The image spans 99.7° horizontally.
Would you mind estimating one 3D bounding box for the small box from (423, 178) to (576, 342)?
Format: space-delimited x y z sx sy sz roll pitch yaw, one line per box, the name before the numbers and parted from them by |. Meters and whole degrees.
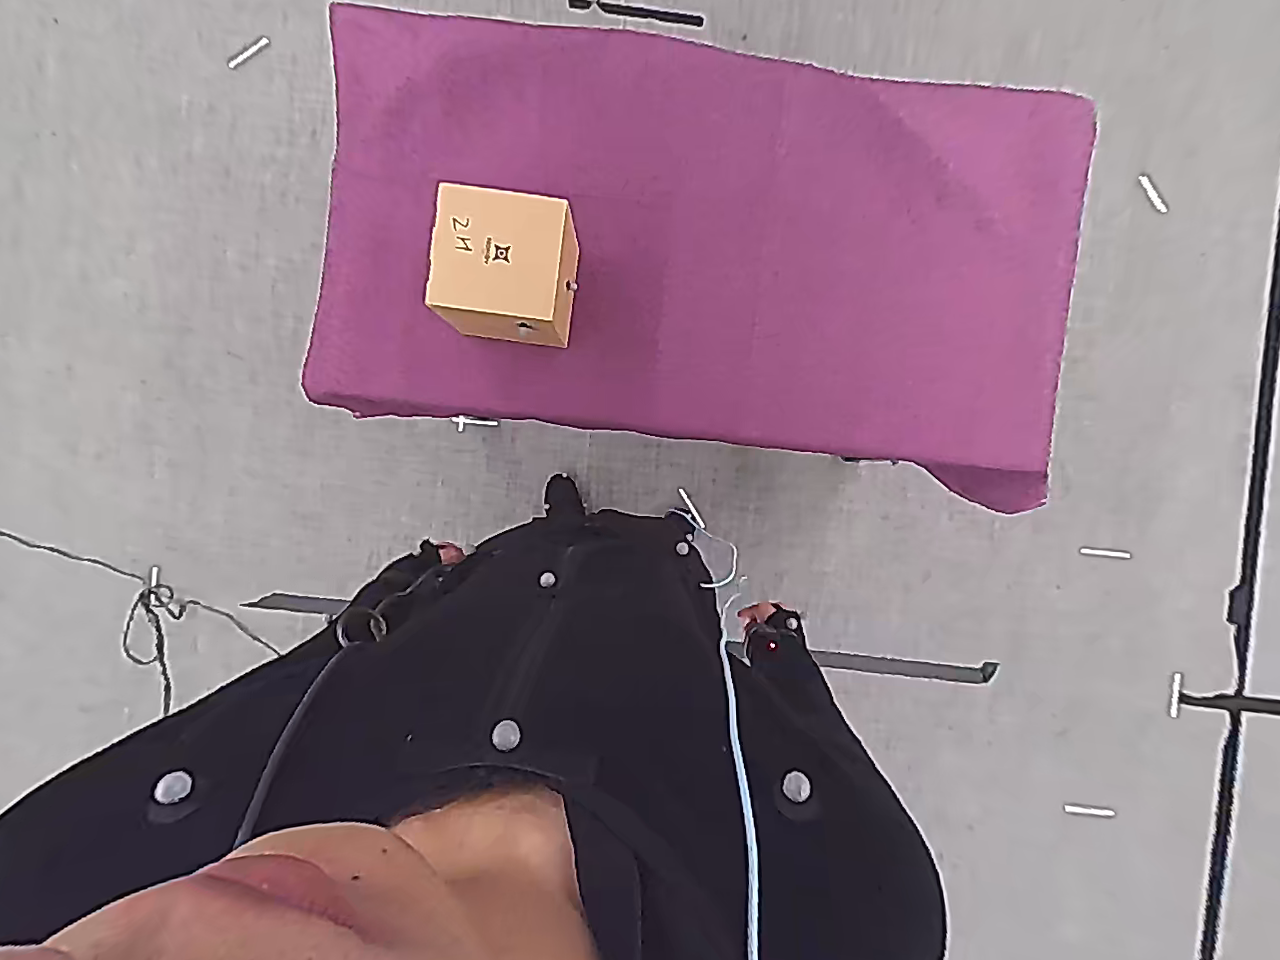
small box | -0.195 -0.310 0.798 0.179 0.176 0.168 8 91 -1
